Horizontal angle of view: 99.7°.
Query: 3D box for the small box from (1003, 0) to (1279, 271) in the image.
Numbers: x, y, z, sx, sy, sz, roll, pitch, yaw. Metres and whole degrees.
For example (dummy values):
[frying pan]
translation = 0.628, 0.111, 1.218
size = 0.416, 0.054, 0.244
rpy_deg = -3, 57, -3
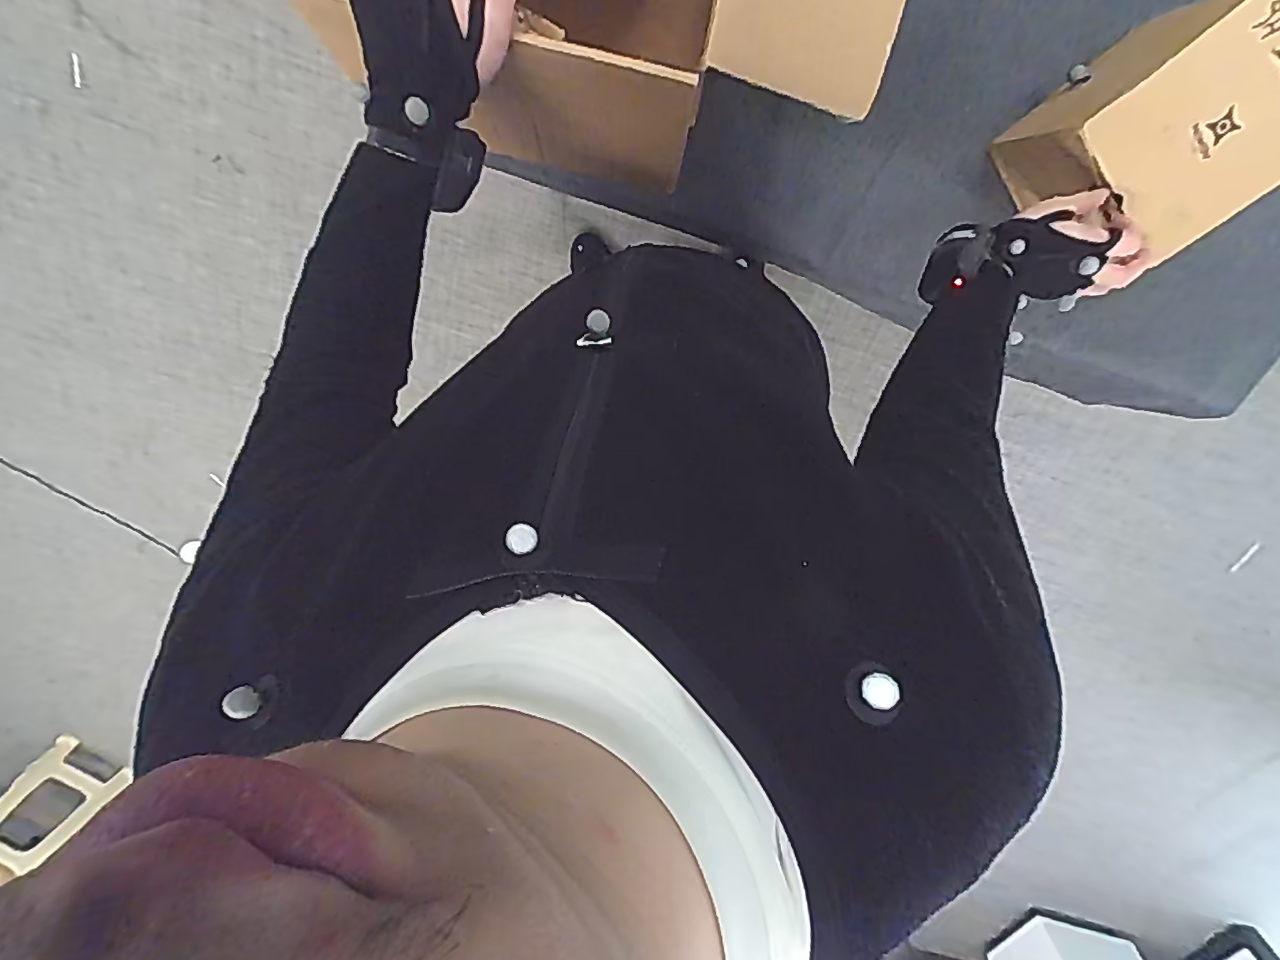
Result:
[small box]
translation = 0.530, -0.351, 0.576
size = 0.179, 0.176, 0.168
rpy_deg = -36, 108, 19
